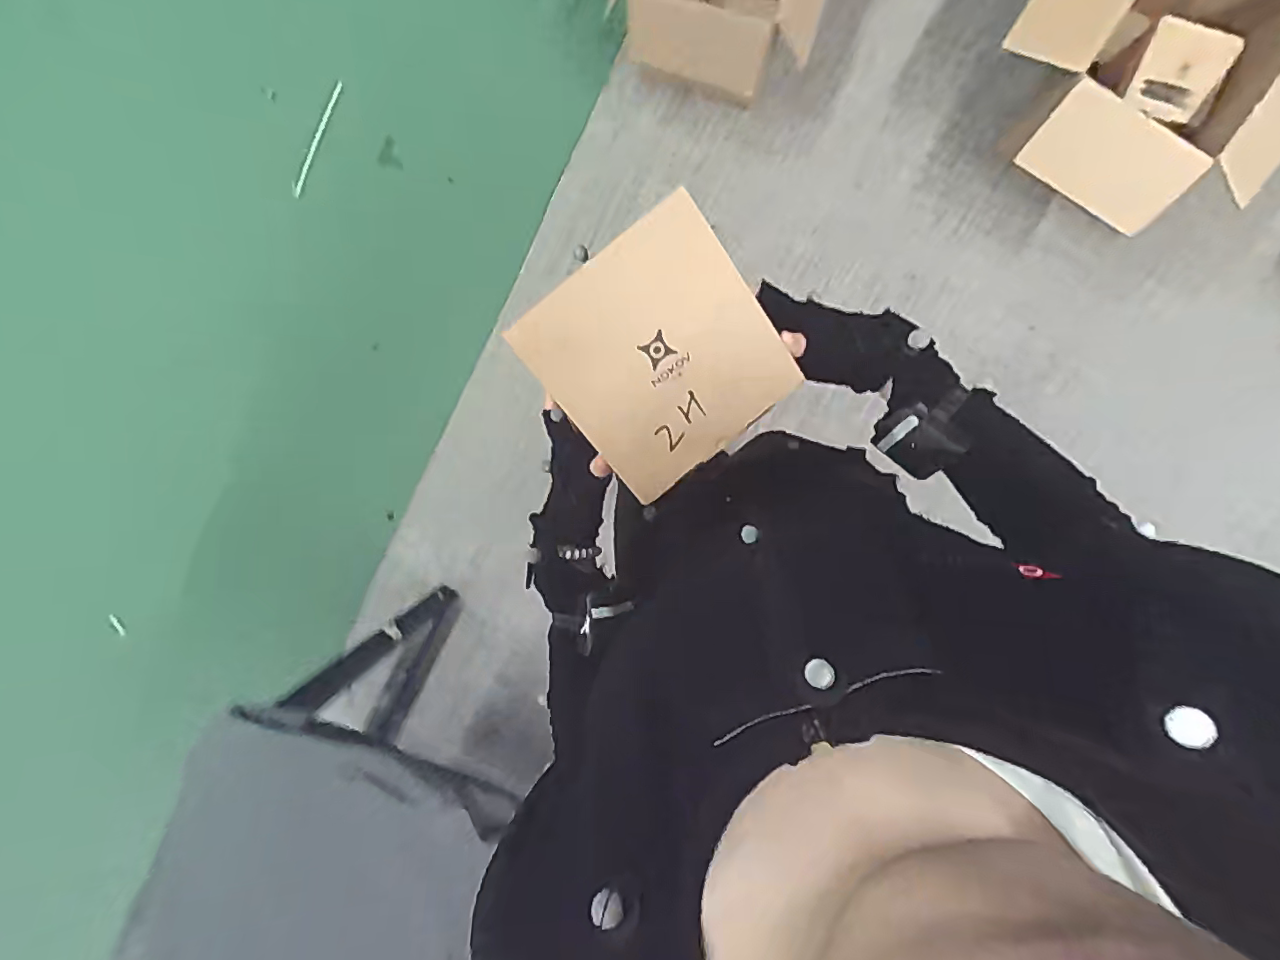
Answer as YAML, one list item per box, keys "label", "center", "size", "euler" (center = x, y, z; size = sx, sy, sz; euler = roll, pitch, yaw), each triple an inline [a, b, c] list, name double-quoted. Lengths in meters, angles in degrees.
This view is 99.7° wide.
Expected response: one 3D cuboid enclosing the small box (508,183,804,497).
- label: "small box"
  center: [0.006, -0.119, 0.481]
  size: [0.168, 0.176, 0.179]
  euler: [-37, 109, 4]
